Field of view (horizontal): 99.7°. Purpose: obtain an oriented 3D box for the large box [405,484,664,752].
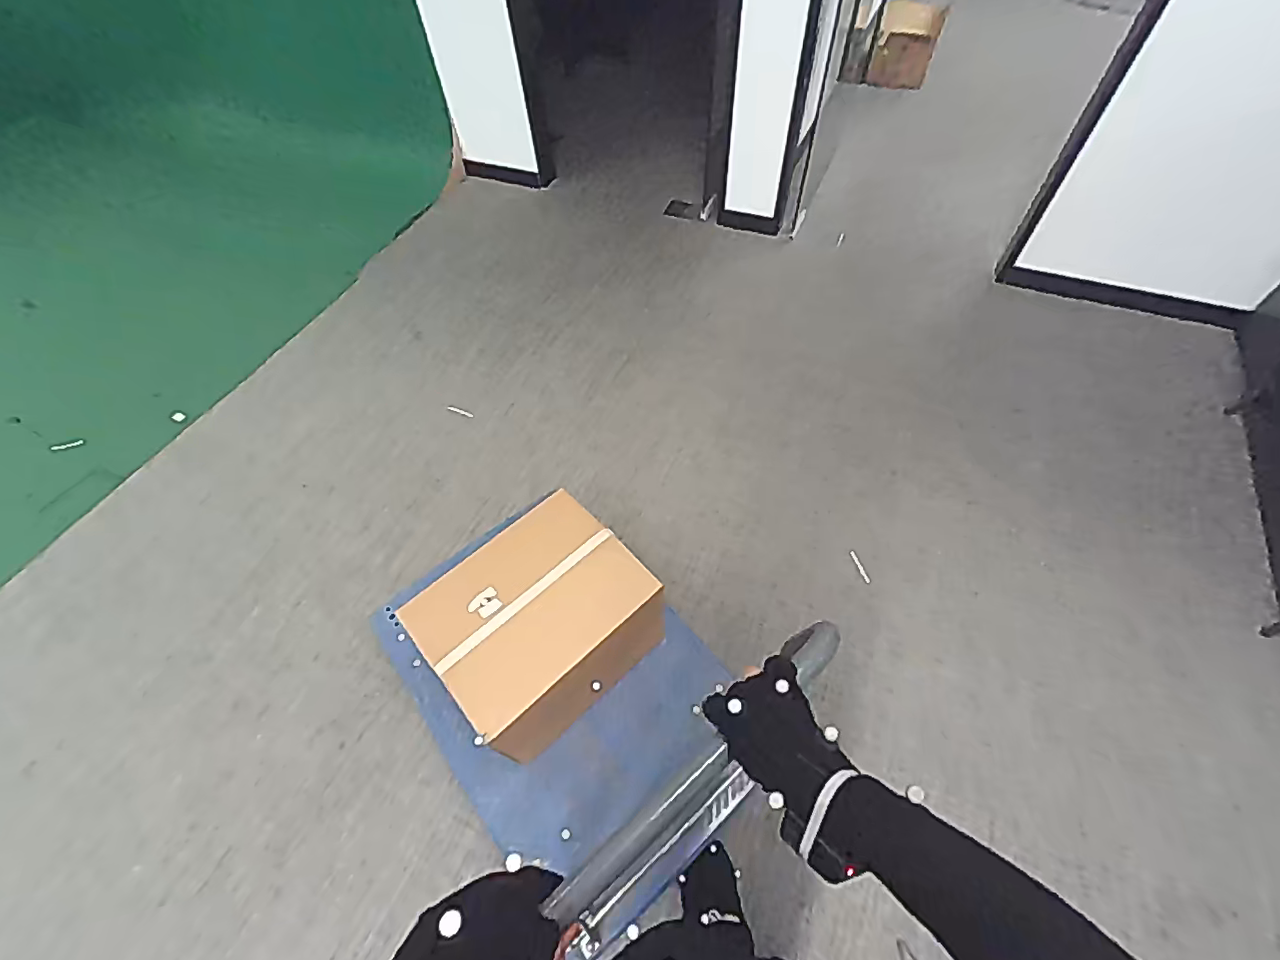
[{"bbox_3d":[-0.192,0.294,1.147,0.408,0.320,0.320,-39,63,-20],"label":"large box"}]
